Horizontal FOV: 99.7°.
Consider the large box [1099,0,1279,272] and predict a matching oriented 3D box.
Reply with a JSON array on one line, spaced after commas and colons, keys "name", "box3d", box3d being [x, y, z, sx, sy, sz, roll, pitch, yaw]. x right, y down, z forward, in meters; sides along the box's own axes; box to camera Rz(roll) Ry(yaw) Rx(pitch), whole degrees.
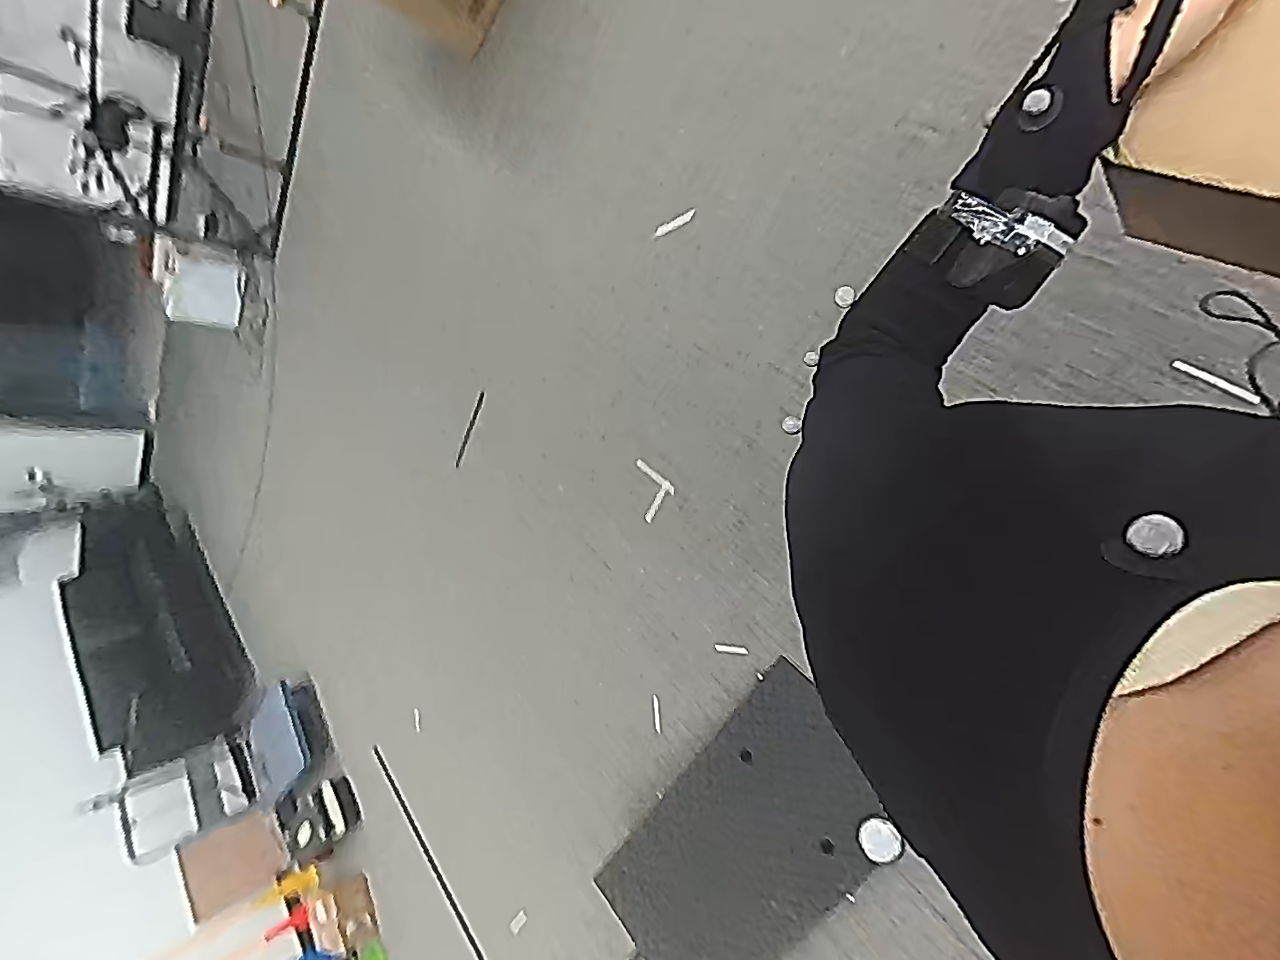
[{"name": "large box", "box3d": [0.546, -0.246, 0.256, 0.408, 0.320, 0.320, 38, 125, 31]}]
